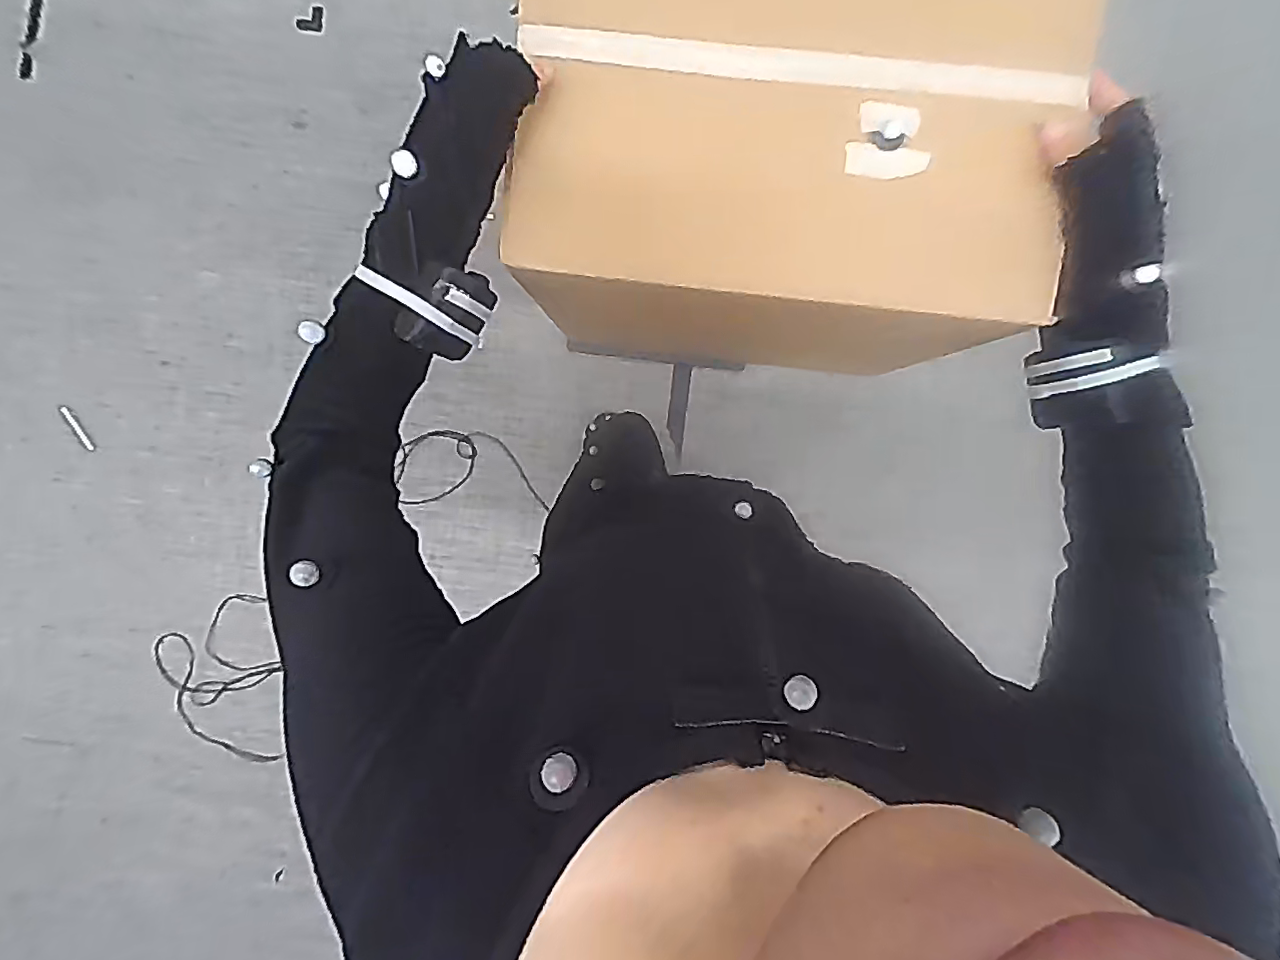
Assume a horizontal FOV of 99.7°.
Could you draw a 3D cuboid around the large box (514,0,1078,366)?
[{"bbox_3d":[0.114,-0.309,0.549,0.408,0.320,0.320,7,94,0],"label":"large box"}]
